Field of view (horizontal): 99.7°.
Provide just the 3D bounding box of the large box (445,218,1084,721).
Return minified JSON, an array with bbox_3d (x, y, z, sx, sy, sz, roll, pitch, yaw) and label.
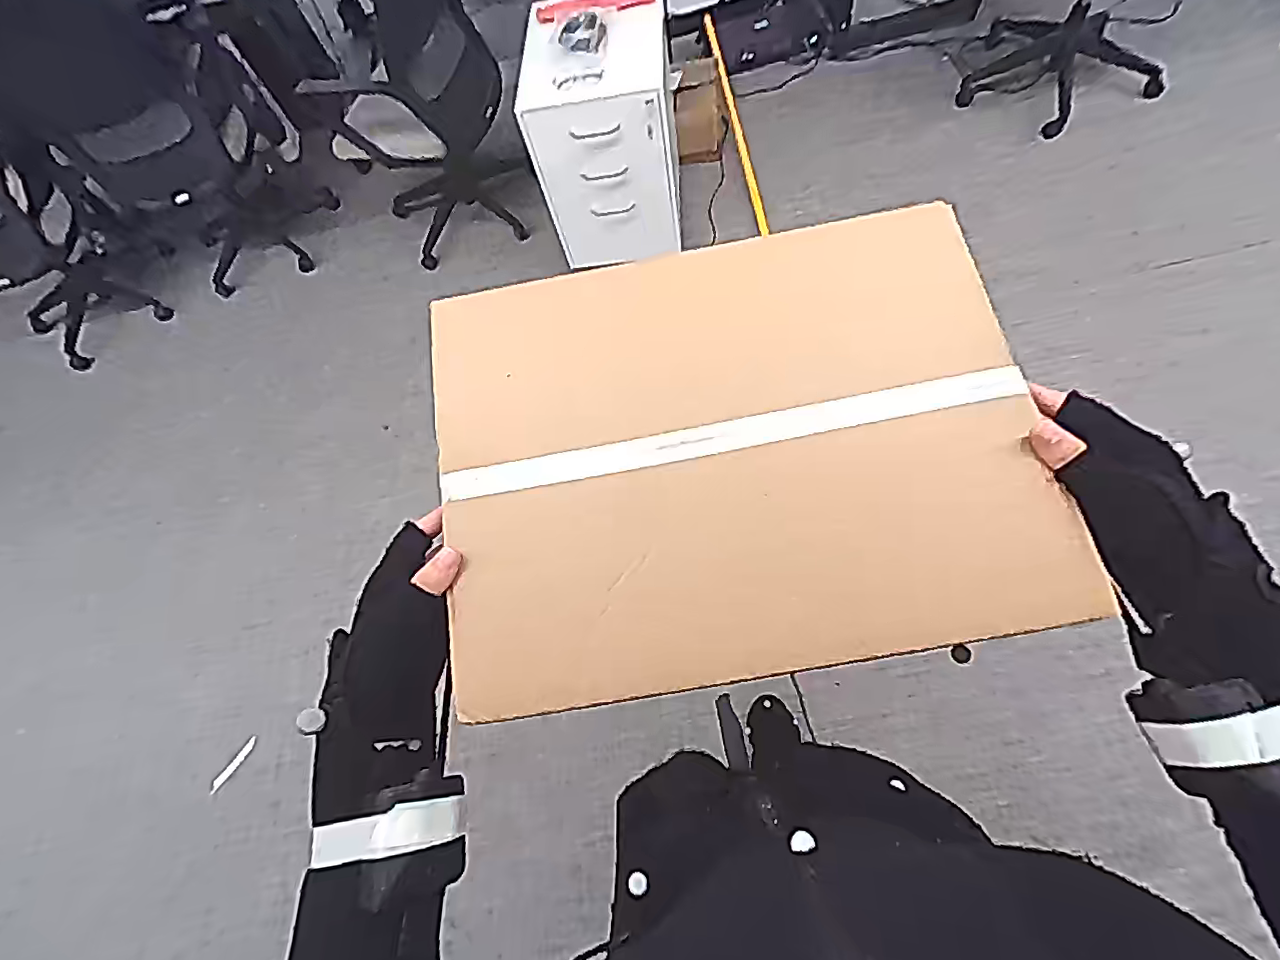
[{"bbox_3d":[0.076,0.015,0.529,0.408,0.320,0.320,-10,72,2],"label":"large box"}]
